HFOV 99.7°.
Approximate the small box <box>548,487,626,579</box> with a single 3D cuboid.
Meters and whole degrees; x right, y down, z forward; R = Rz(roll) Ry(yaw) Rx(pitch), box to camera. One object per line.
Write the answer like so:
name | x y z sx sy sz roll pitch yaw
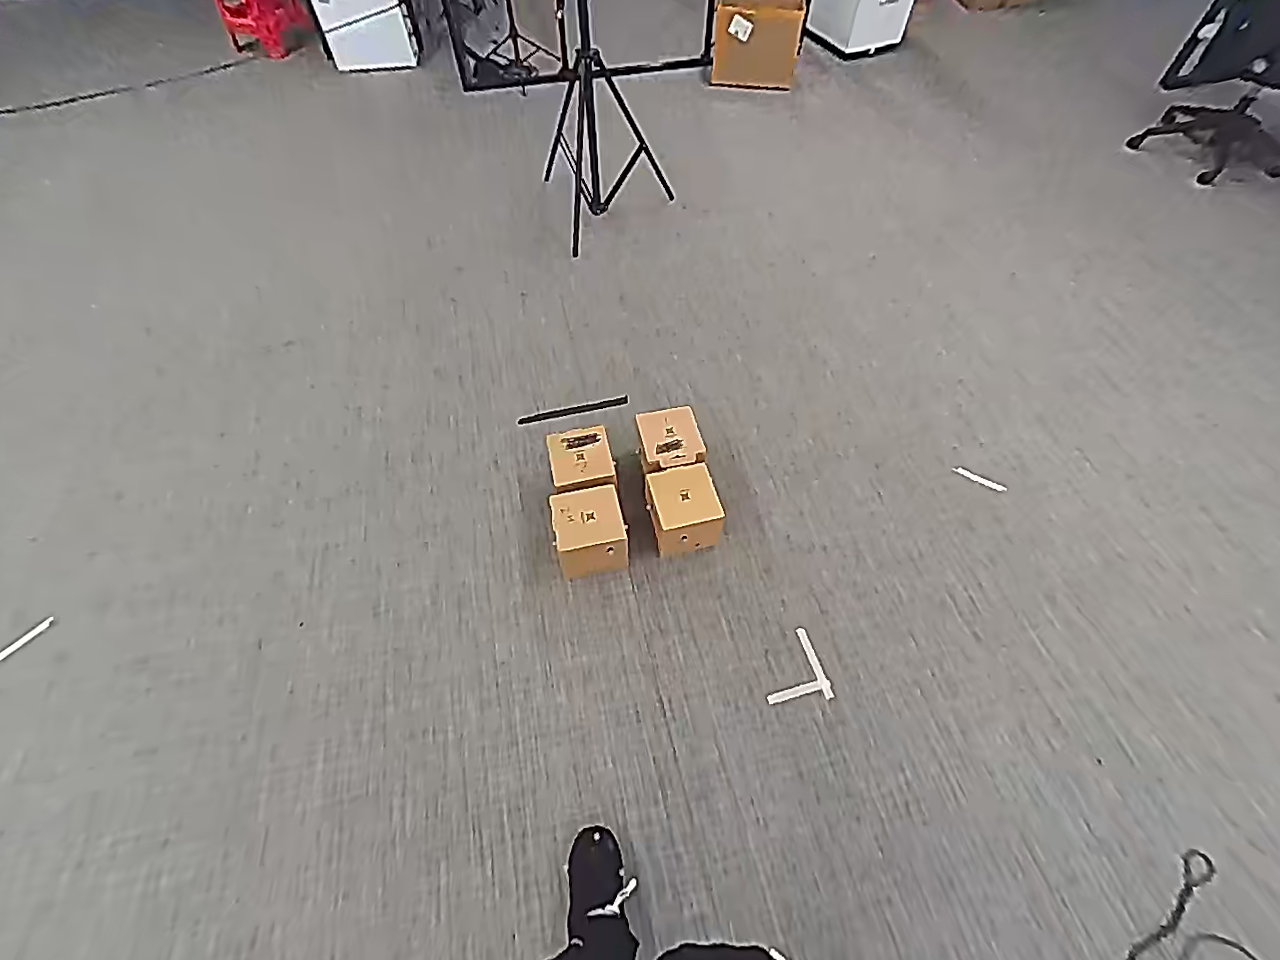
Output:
small box | -0.136 0.142 1.421 0.179 0.176 0.168 -11 58 -7
